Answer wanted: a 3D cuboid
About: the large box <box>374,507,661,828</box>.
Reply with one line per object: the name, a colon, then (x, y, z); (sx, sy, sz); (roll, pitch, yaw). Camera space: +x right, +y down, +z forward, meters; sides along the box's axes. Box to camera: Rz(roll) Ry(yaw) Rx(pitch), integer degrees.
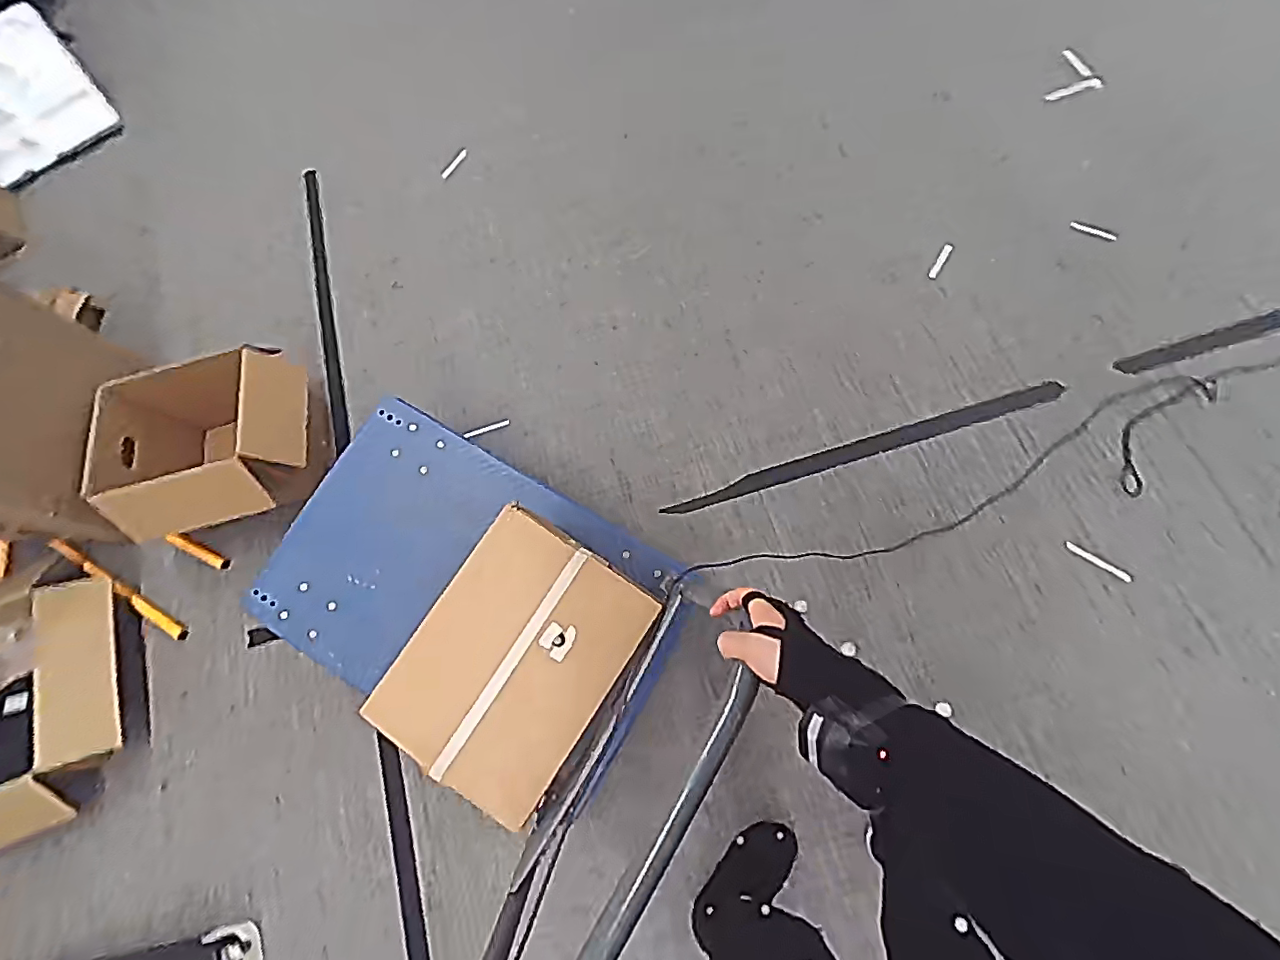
large box: (-0.190, 0.320, 1.012); (0.320, 0.320, 0.408); (32, 81, 8)
